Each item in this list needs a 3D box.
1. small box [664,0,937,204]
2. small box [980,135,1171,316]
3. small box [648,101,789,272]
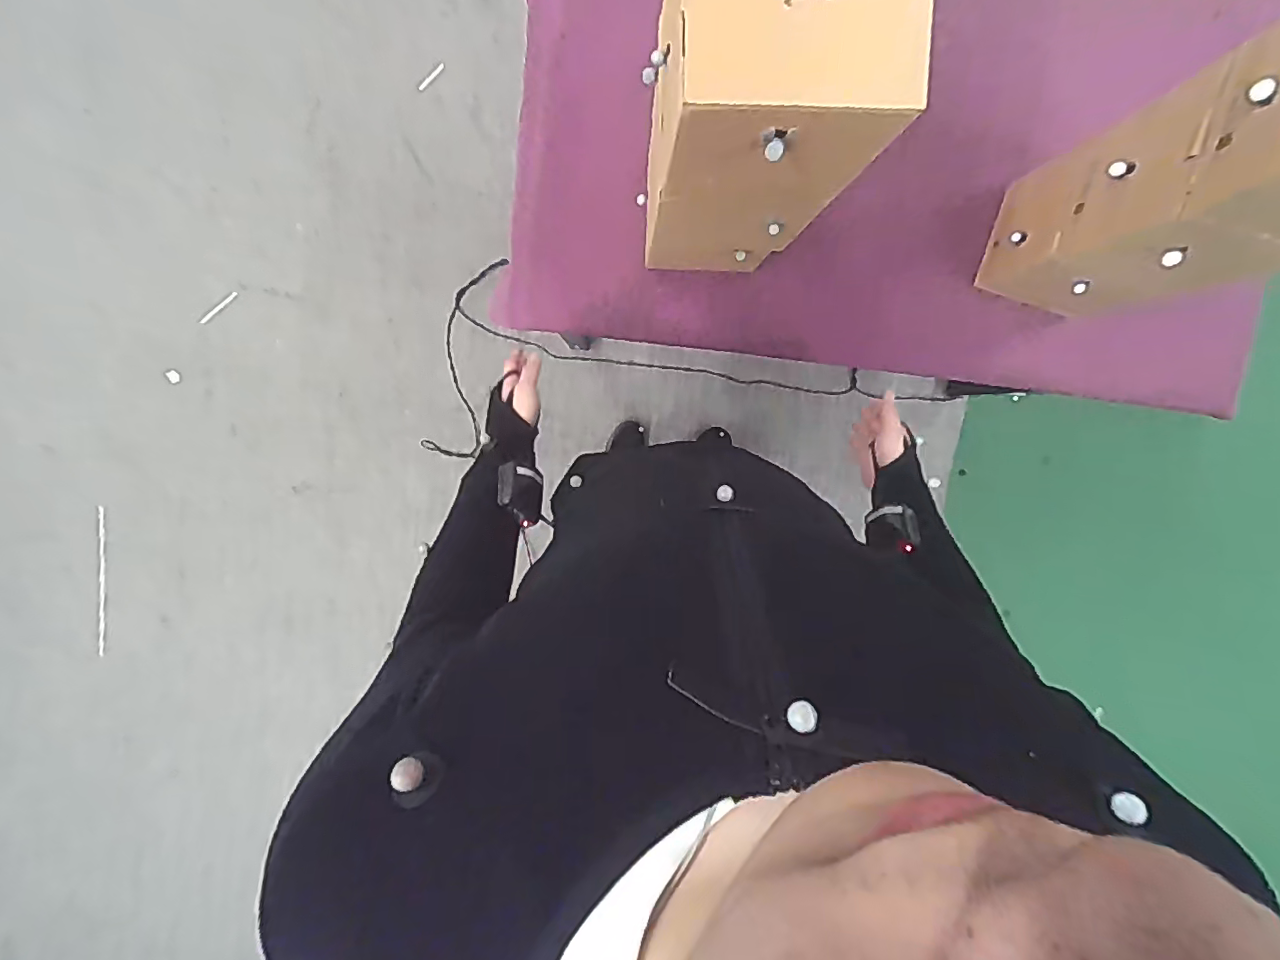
[{"bbox_3d":[0.115,-0.344,0.446,0.179,0.176,0.168,0,98,-2],"label":"small box"},{"bbox_3d":[0.646,-0.354,0.789,0.179,0.176,0.168,17,96,-4],"label":"small box"},{"bbox_3d":[0.104,-0.402,0.769,0.179,0.176,0.168,2,97,-1],"label":"small box"}]
